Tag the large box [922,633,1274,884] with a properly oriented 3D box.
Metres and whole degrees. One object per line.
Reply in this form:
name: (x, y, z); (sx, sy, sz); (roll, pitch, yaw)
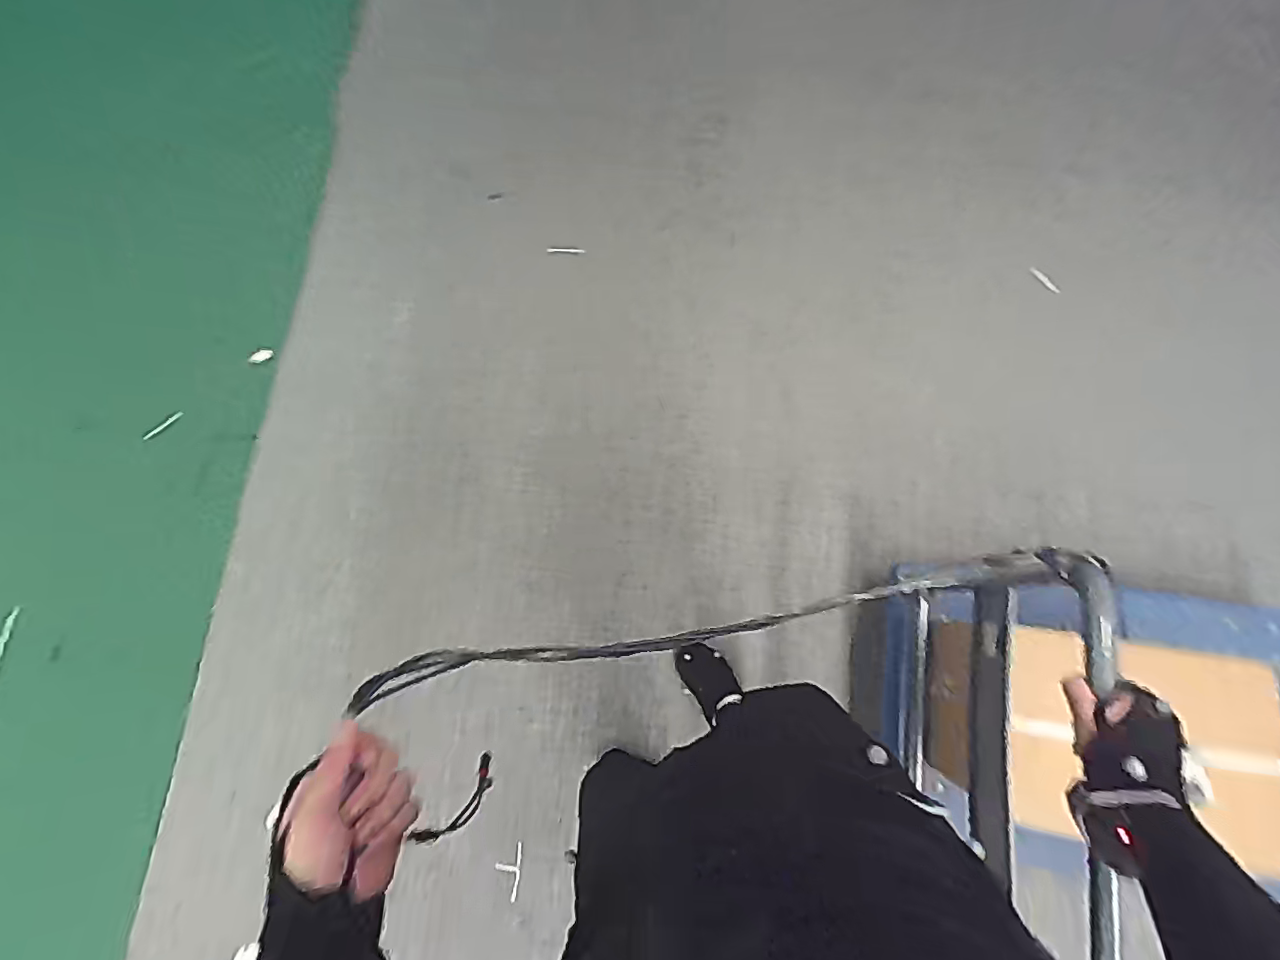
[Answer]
large box: (0.801, 0.477, 1.017); (0.408, 0.320, 0.320); (8, 78, 7)
